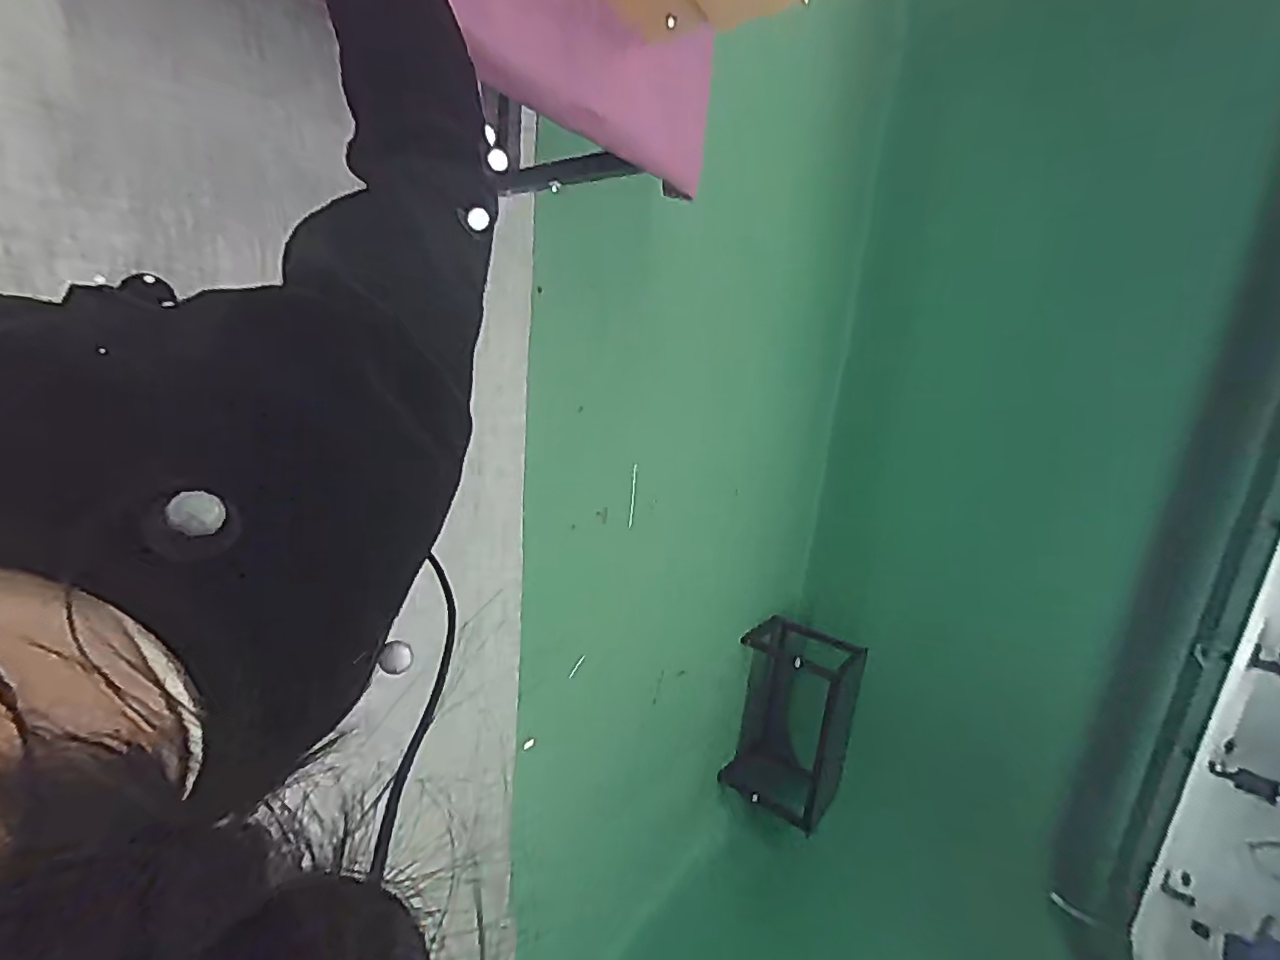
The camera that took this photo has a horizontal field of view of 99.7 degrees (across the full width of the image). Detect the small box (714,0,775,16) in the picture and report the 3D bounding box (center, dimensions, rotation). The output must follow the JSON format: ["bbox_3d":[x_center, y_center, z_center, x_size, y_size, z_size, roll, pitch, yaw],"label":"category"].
[{"bbox_3d":[0.183,-0.879,0.840,0.179,0.176,0.168,1,101,-53],"label":"small box"}]
